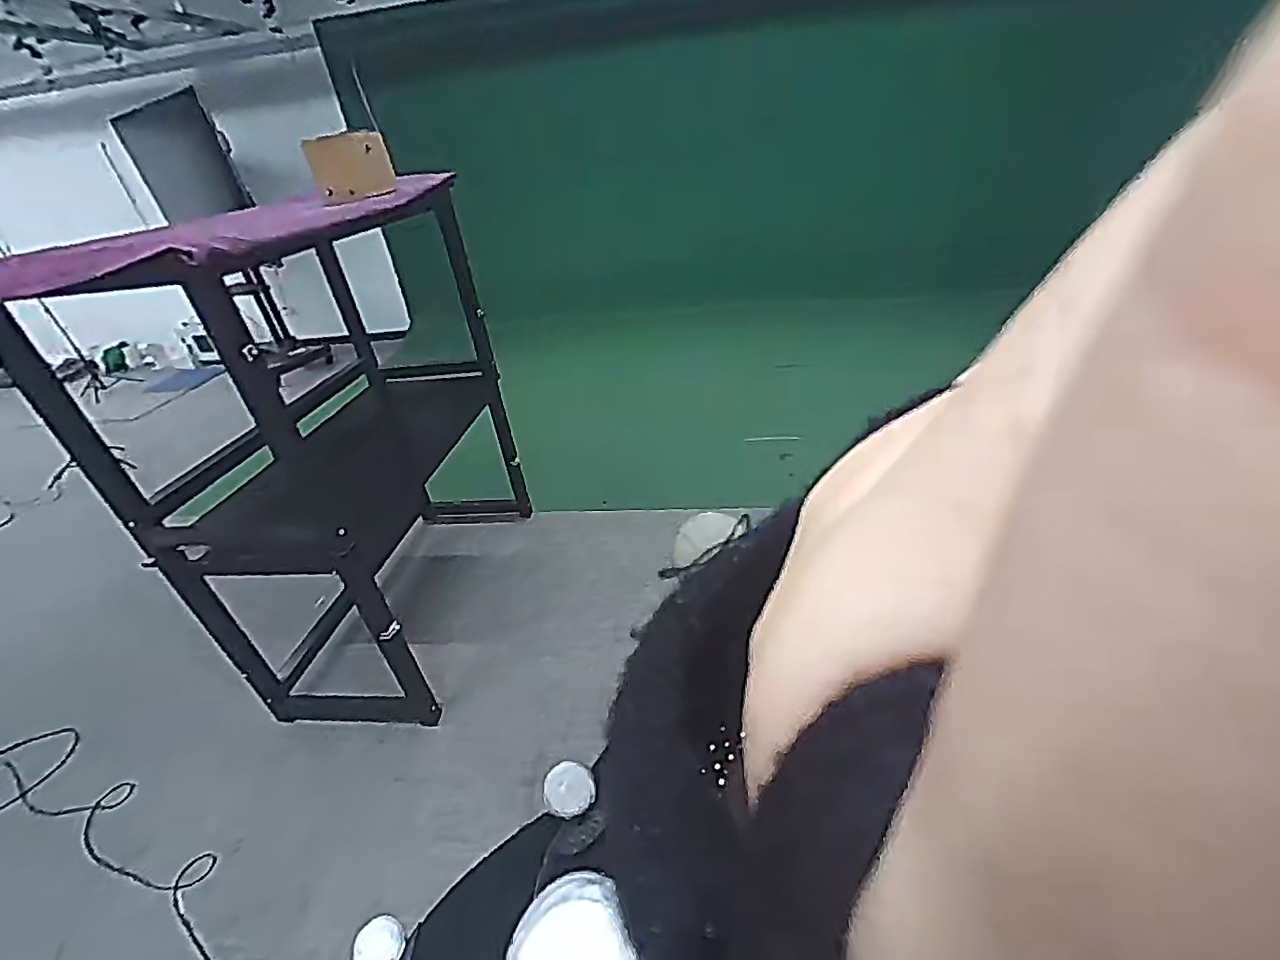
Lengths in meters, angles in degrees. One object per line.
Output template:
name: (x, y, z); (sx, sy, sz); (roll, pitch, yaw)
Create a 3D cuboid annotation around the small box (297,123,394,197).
small box: (-0.881, -0.967, 1.640); (0.168, 0.176, 0.179); (-3, 34, 11)
